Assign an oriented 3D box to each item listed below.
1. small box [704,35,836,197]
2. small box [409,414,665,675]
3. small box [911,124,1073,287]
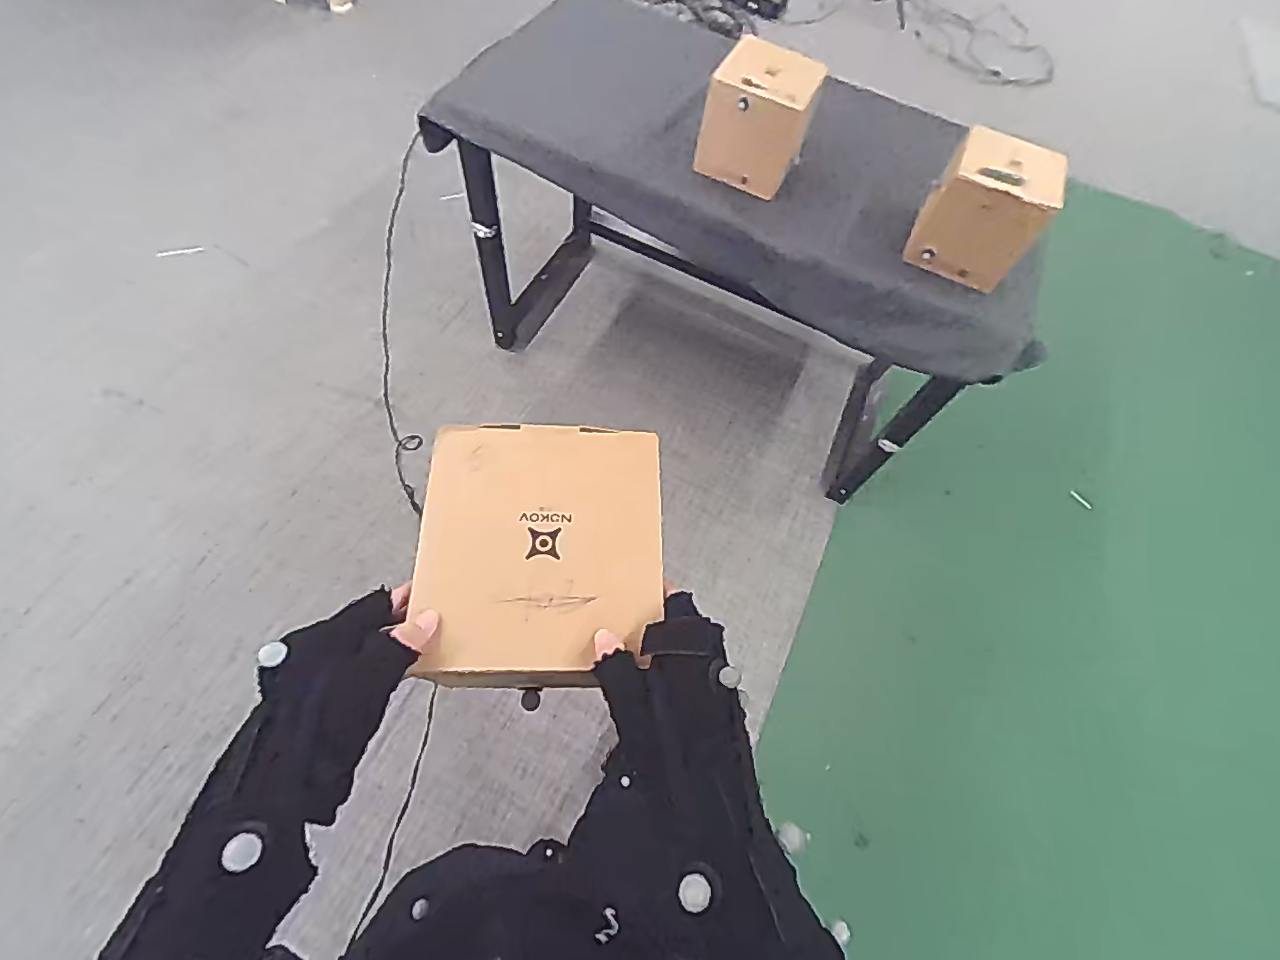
[{"bbox_3d":[0.234,-0.672,1.007,0.168,0.176,0.179,26,63,7],"label":"small box"},{"bbox_3d":[-0.074,0.064,0.451,0.168,0.176,0.179,1,67,-6],"label":"small box"},{"bbox_3d":[0.608,-0.474,0.950,0.168,0.176,0.179,27,62,8],"label":"small box"}]
